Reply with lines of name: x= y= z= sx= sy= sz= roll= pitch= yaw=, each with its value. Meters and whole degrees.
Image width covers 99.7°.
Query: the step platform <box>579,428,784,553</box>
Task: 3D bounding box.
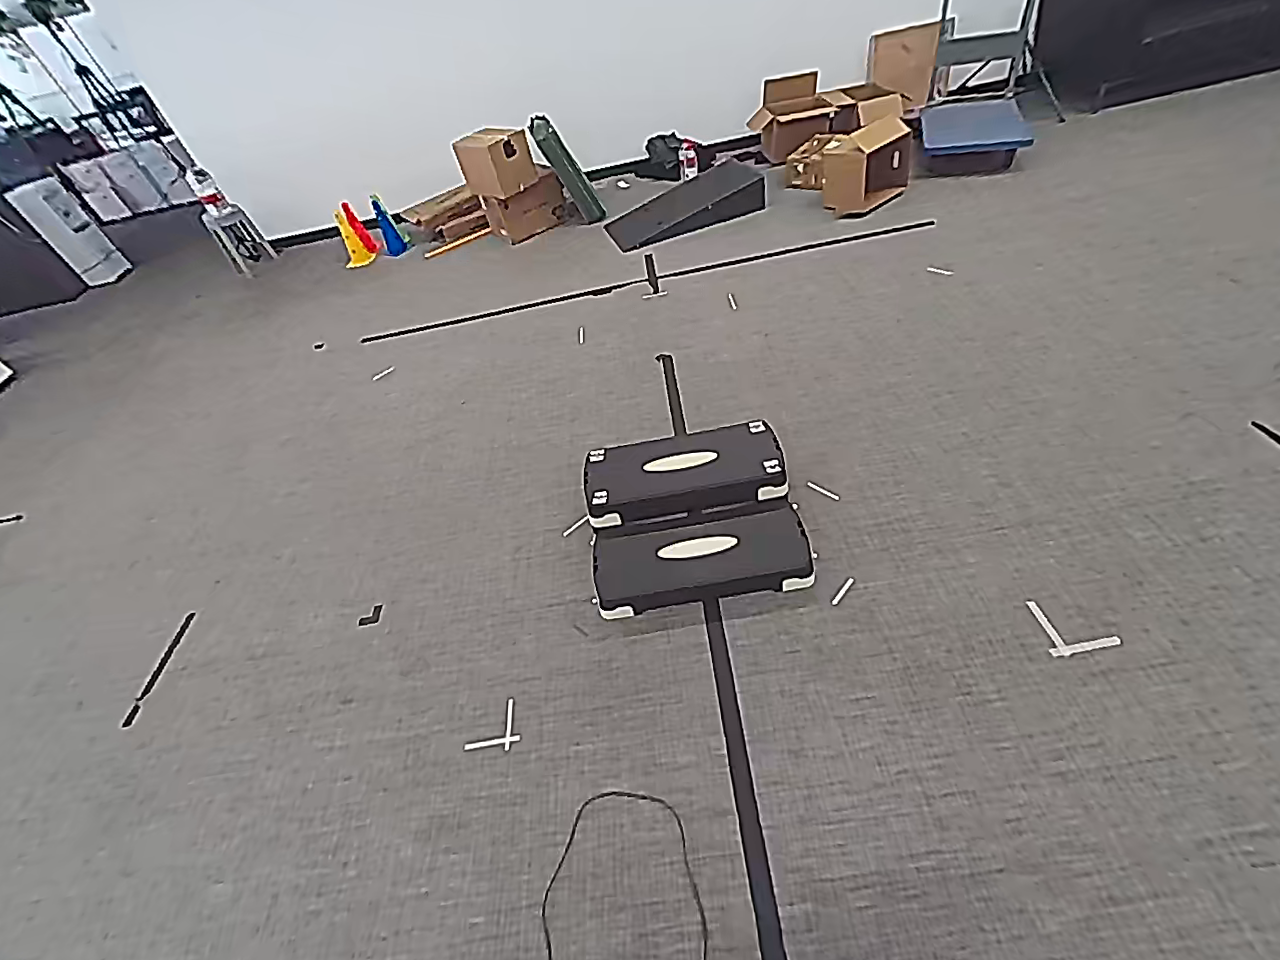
step platform: x=0.134 y=0.030 z=1.849 sx=0.684 sy=0.204 sz=0.286 roll=-11 pitch=46 yaw=2
